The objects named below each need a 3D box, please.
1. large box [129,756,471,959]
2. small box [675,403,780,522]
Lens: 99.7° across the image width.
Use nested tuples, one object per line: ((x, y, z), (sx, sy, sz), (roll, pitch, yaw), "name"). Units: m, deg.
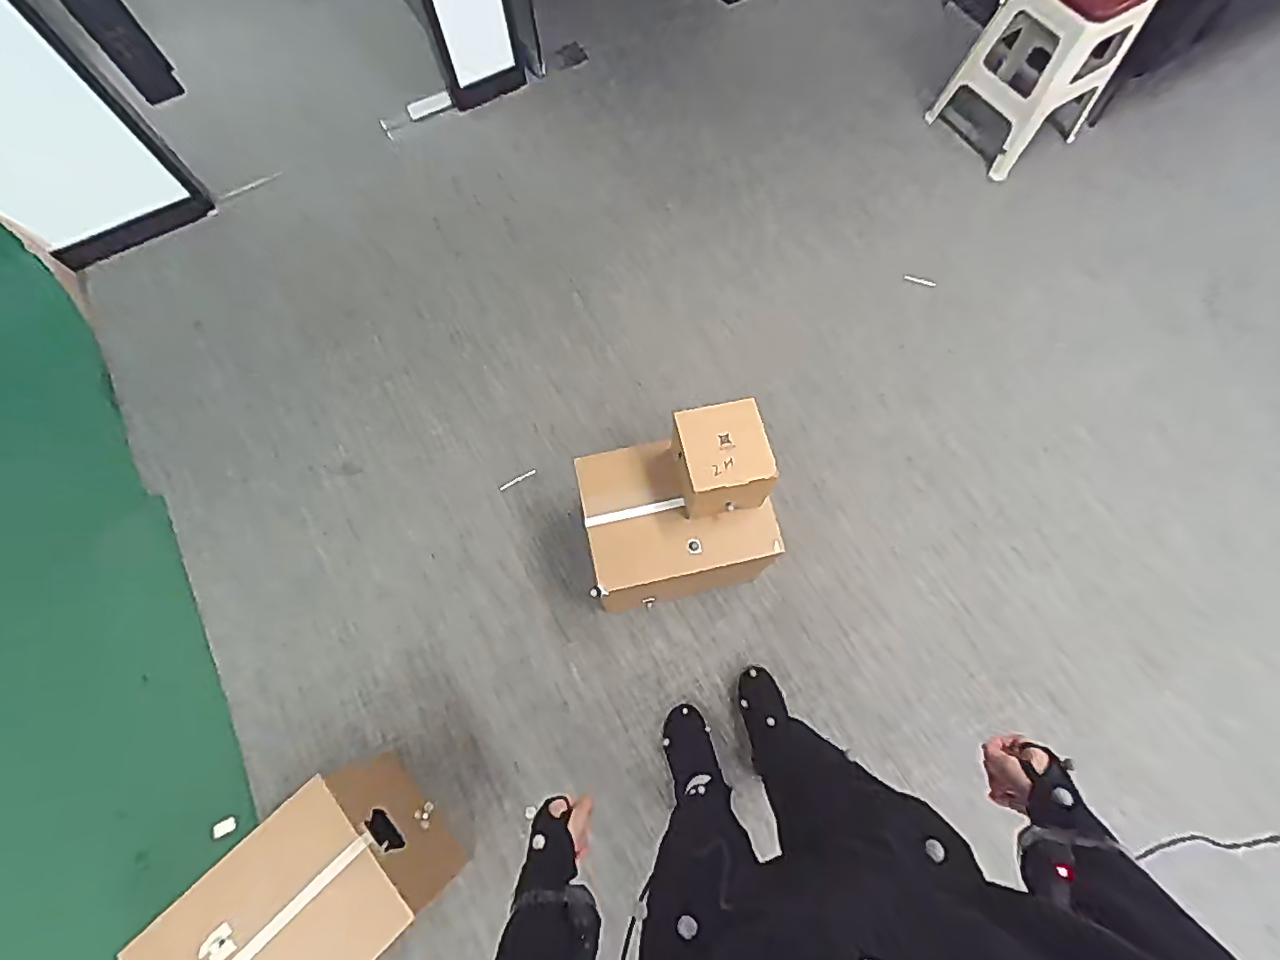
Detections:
((-0.618, 0.830, 1.059), (0.408, 0.320, 0.320), (-43, 74, -12), "large box")
((0.168, -0.031, 1.110), (0.168, 0.176, 0.179), (-11, 68, -3), "small box")
